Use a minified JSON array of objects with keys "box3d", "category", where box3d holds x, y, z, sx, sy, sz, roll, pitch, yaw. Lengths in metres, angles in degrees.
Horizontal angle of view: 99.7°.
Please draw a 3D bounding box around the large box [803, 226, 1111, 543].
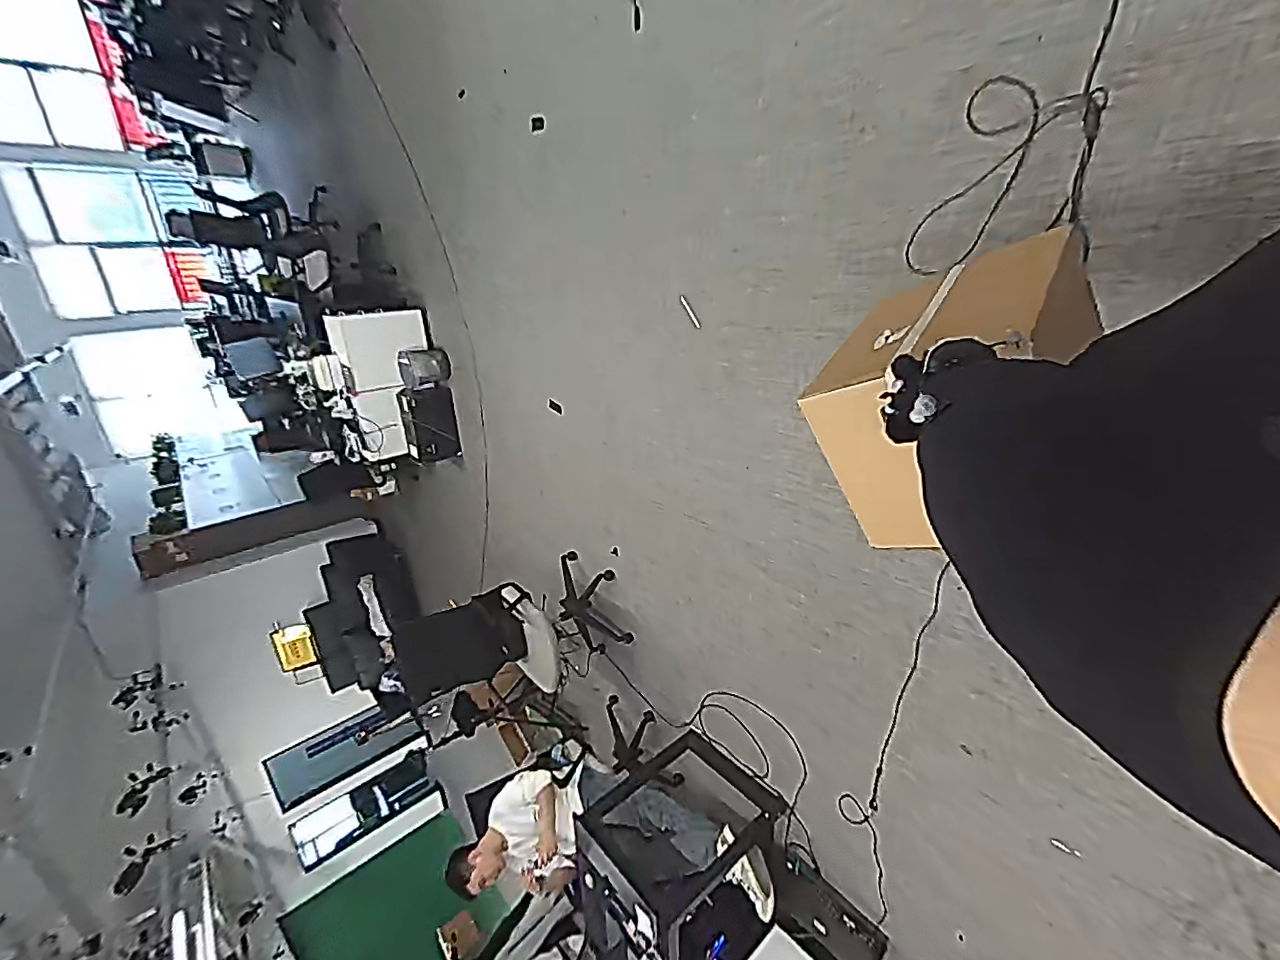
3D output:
[{"box3d":[0.540,-0.145,0.896,0.320,0.408,0.320,-13,118,51],"category":"large box"}]
